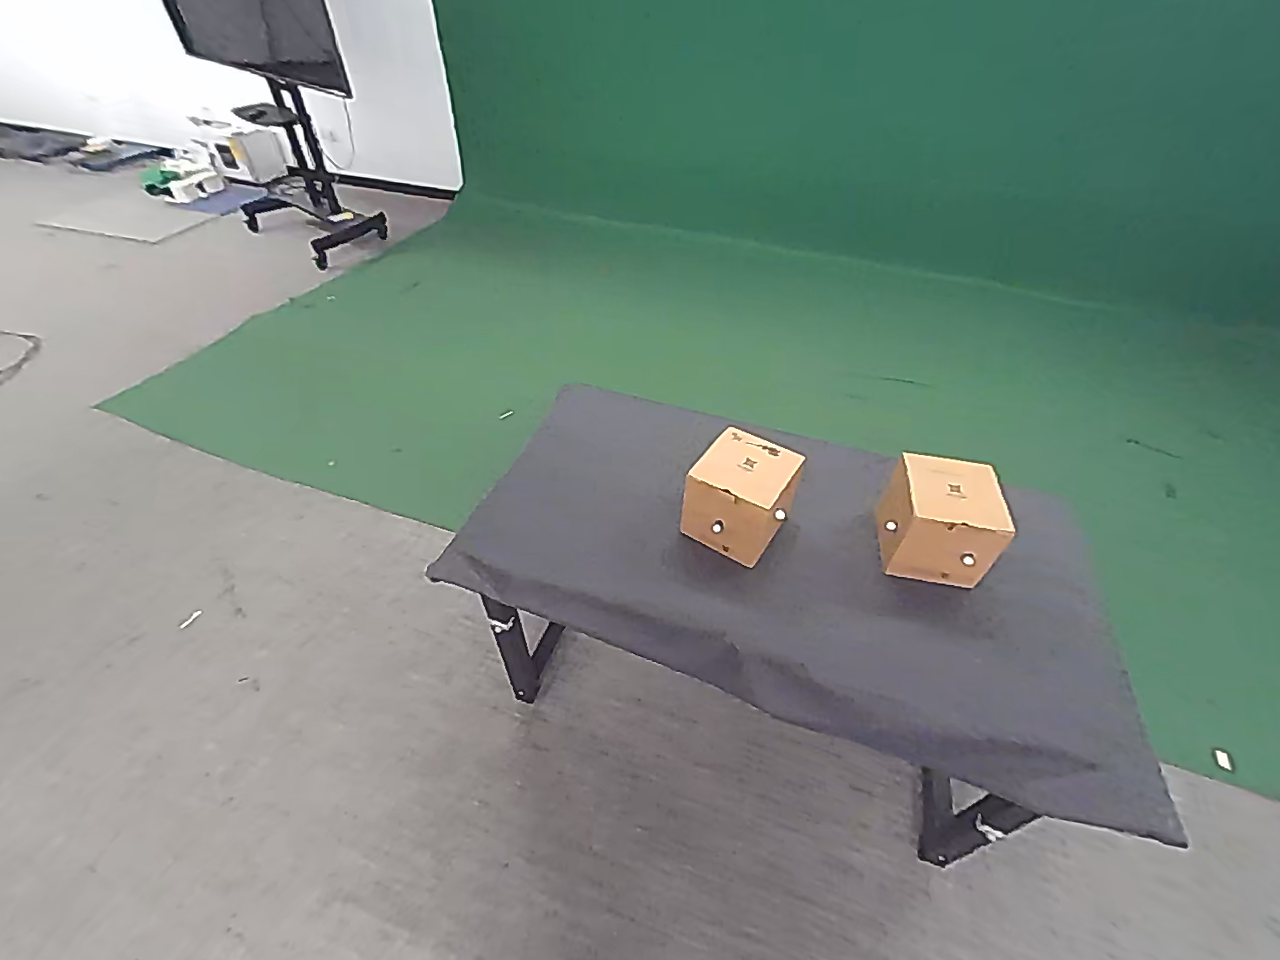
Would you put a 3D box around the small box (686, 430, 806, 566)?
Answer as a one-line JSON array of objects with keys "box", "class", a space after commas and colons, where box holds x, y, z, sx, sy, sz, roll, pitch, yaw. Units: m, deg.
[{"box": [0.203, 0.038, 1.071, 0.168, 0.176, 0.179, 27, 50, 22], "class": "small box"}]

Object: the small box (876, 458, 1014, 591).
[{"box": [0.570, 0.087, 1.038, 0.168, 0.176, 0.179, 10, 44, 6], "class": "small box"}]
